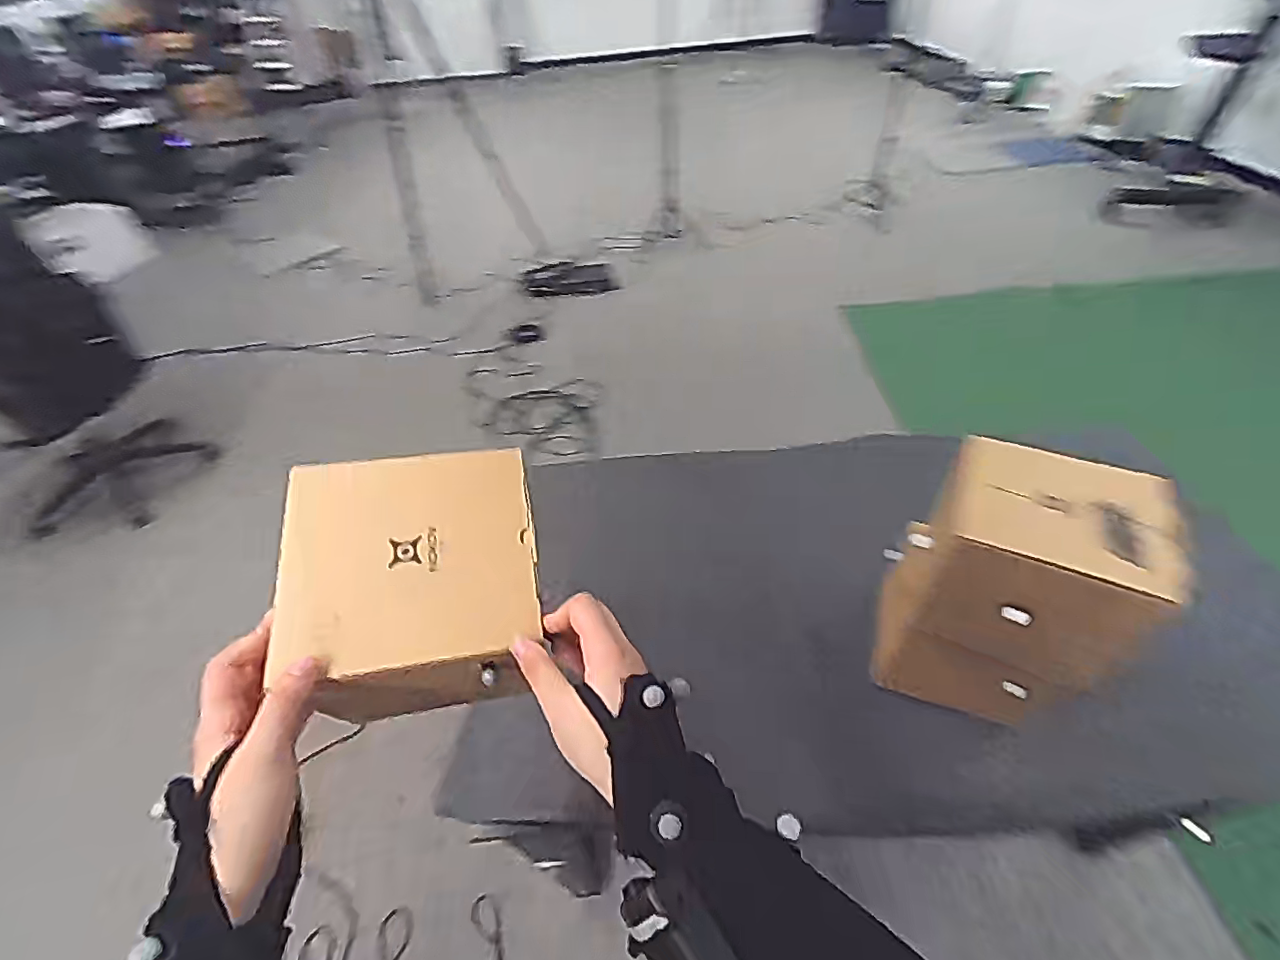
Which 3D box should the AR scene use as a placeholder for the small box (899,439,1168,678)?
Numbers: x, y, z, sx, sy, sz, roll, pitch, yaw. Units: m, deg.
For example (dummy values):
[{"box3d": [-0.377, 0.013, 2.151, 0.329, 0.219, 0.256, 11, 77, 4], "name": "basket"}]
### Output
[{"box3d": [0.409, 0.088, 0.588, 0.179, 0.176, 0.168, 19, 50, 22], "name": "small box"}]
